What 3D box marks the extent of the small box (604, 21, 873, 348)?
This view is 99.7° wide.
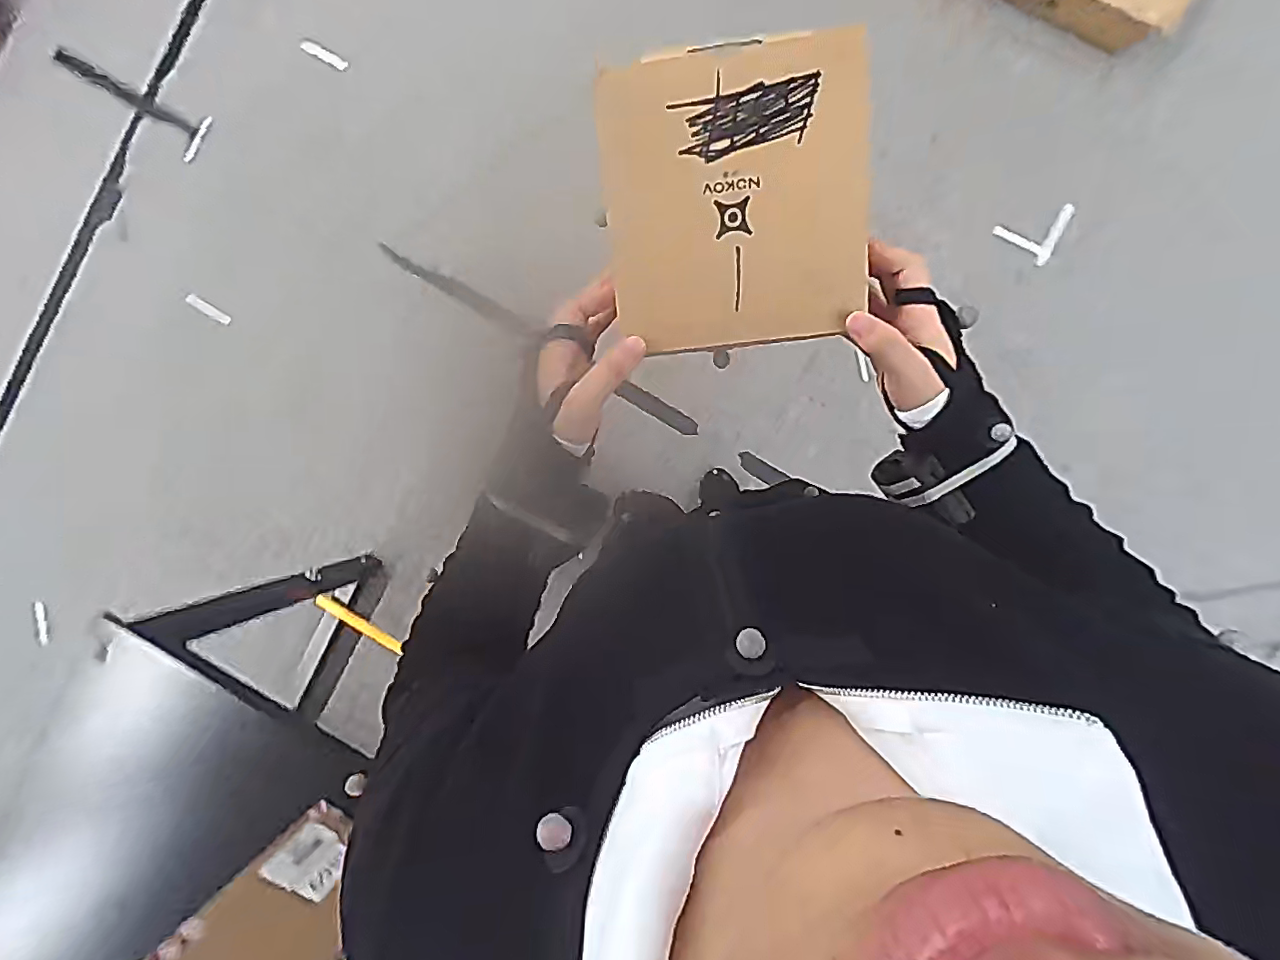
[{"bbox_3d":[0.069,-0.200,0.422,0.168,0.176,0.179,-4,103,5],"label":"small box"}]
